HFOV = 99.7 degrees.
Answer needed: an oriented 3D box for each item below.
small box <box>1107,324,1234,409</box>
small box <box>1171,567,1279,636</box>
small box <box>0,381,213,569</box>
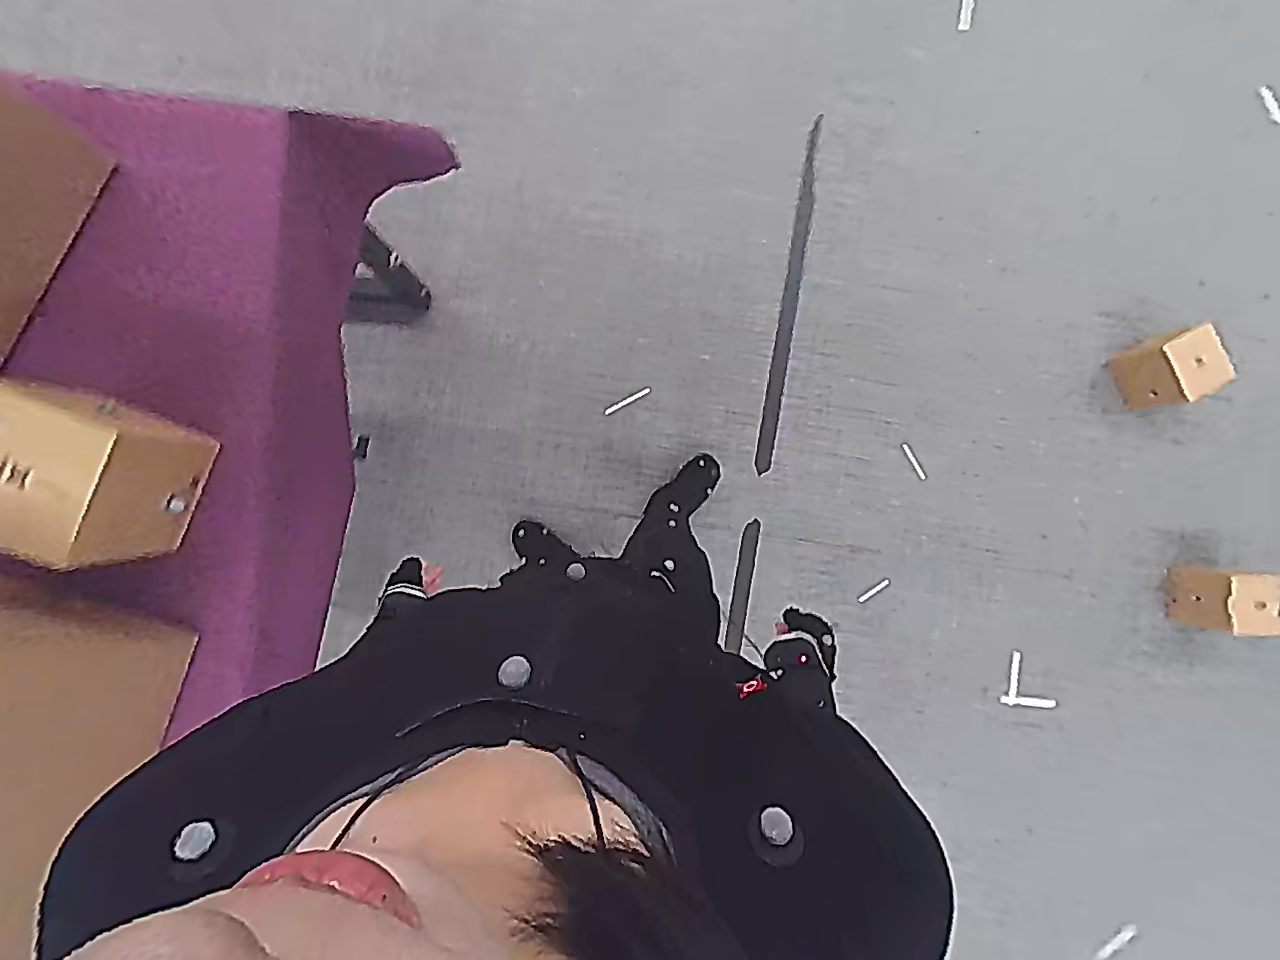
[{"bbox_3d":[1.517,-0.315,1.557,0.168,0.176,0.179,-28,91,-5],"label":"small box"},{"bbox_3d":[1.695,0.347,1.561,0.179,0.176,0.168,1,90,-3],"label":"small box"},{"bbox_3d":[-0.689,-0.007,0.659,0.179,0.176,0.168,22,88,-4],"label":"small box"}]
